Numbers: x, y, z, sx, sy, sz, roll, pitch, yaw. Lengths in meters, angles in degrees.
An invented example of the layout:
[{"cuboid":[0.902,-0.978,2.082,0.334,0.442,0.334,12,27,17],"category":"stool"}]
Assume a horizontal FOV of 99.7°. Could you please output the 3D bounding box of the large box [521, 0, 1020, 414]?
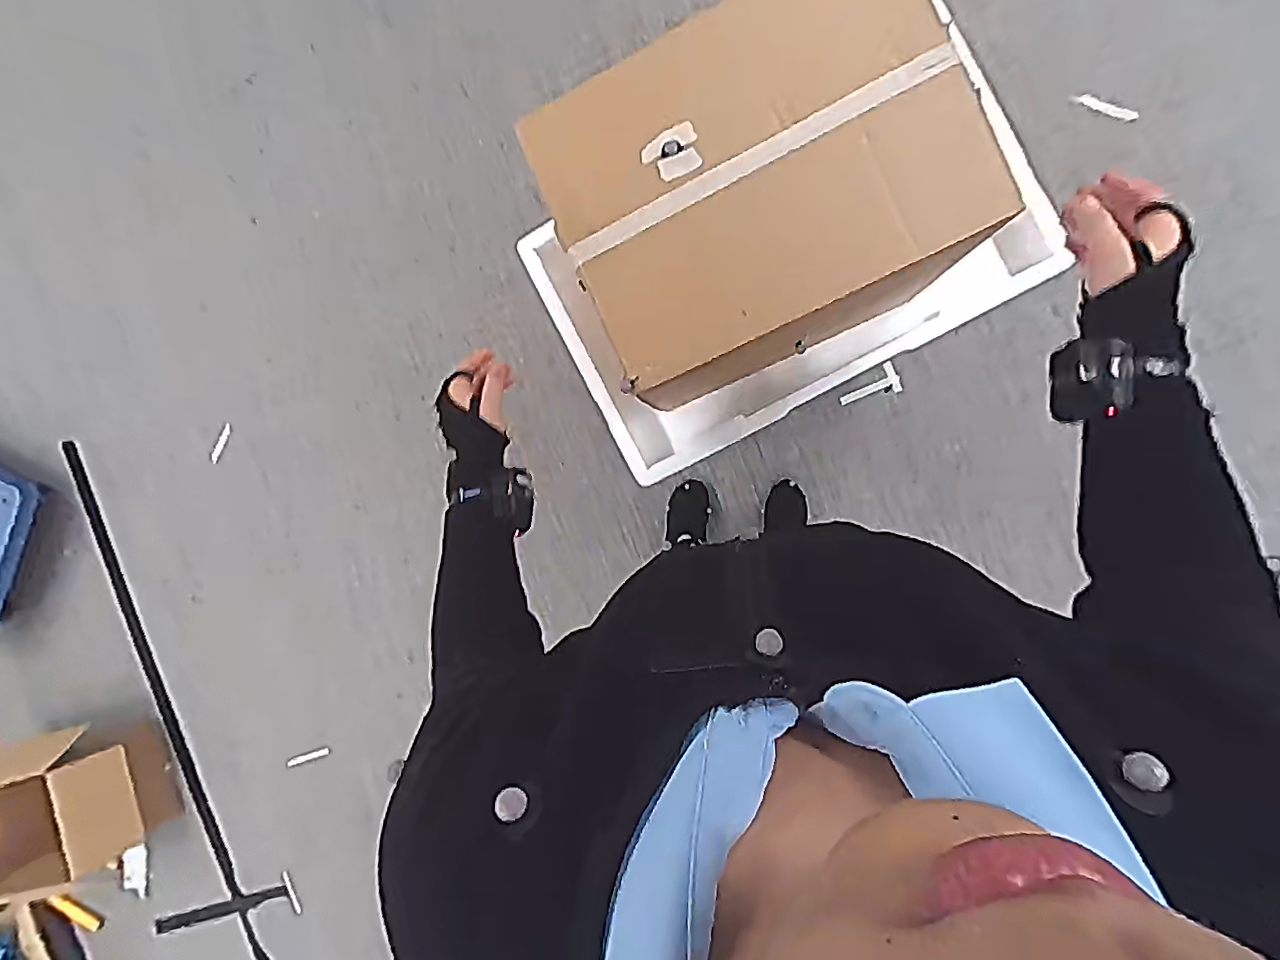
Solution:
[{"cuboid":[0.137,-0.311,0.676,0.408,0.320,0.320,-25,88,10],"category":"large box"}]
